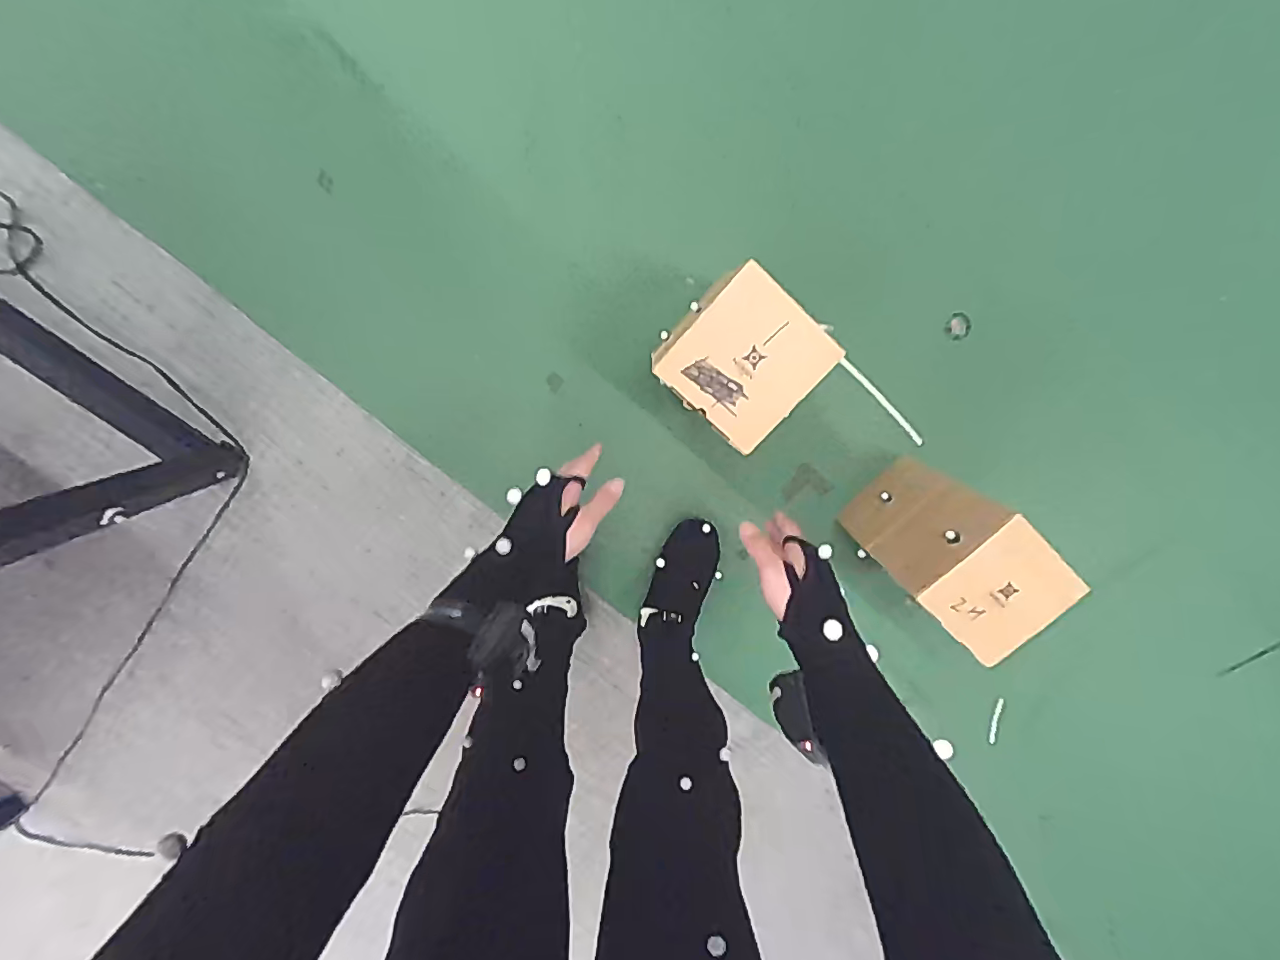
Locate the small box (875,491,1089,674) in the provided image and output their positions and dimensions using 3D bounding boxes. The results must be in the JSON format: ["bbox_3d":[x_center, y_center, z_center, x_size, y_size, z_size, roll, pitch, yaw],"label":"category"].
[{"bbox_3d":[0.496,0.142,0.813,0.168,0.176,0.179,42,102,-10],"label":"small box"}]

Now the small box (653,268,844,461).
[{"bbox_3d":[0.135,-0.155,0.738,0.168,0.176,0.179,41,101,-10],"label":"small box"}]
